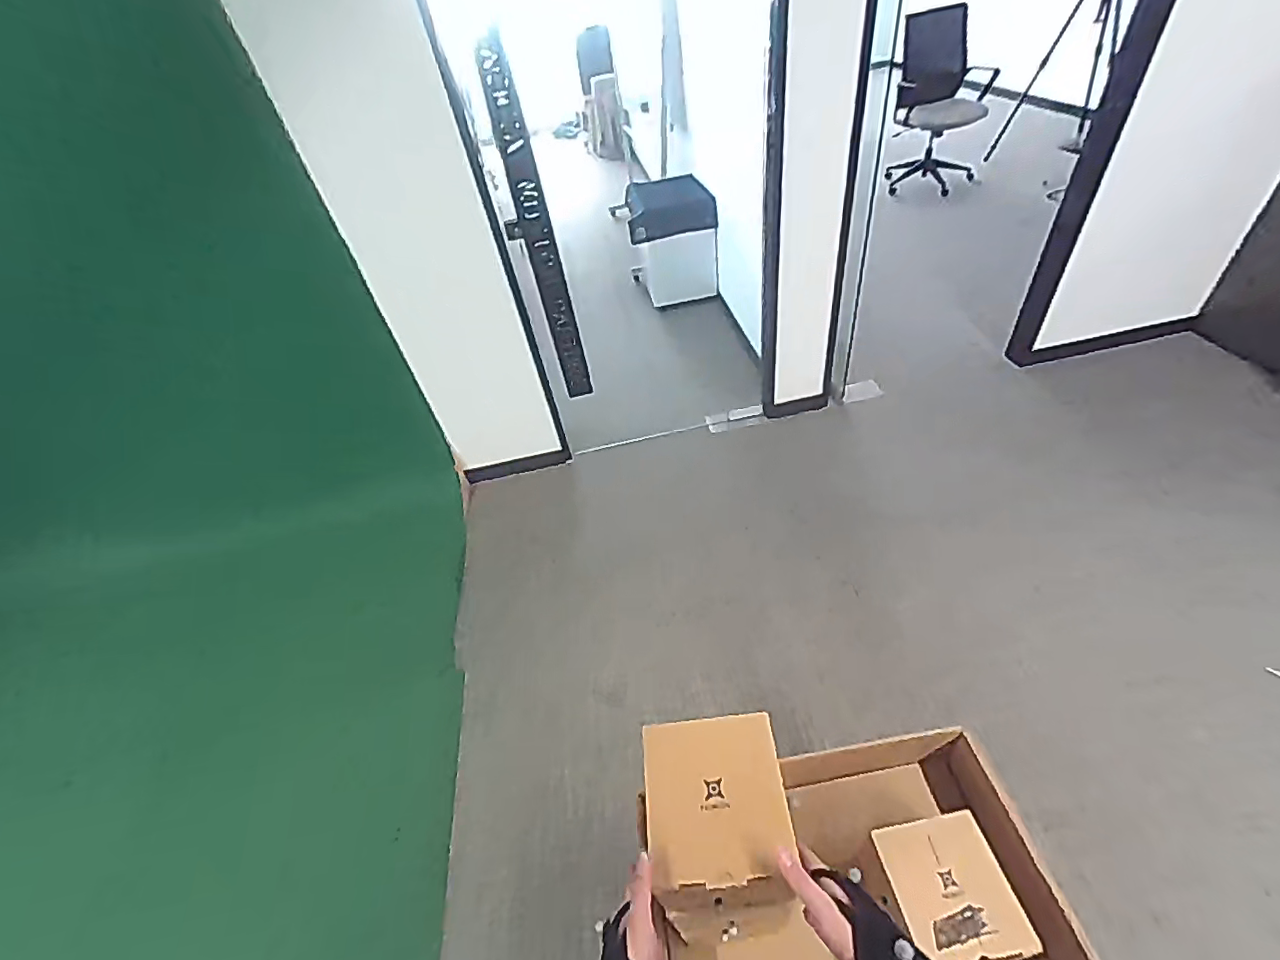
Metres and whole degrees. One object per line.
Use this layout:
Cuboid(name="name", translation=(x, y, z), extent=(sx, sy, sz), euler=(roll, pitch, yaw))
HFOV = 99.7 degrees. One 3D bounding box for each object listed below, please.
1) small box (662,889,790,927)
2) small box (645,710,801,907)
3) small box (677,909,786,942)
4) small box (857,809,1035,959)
Cuboid(name="small box", translation=(0.117, 0.537, 0.806), extent=(0.168, 0.176, 0.179), euler=(-9, 44, 3))
Cuboid(name="small box", translation=(0.099, 0.421, 0.694), extent=(0.168, 0.176, 0.179), euler=(-8, 45, 4))
Cuboid(name="small box", translation=(0.139, 0.653, 0.919), extent=(0.168, 0.176, 0.179), euler=(-10, 44, 1))
Cuboid(name="small box", translation=(0.462, 0.653, 0.851), extent=(0.168, 0.176, 0.179), euler=(-11, 43, 0))
